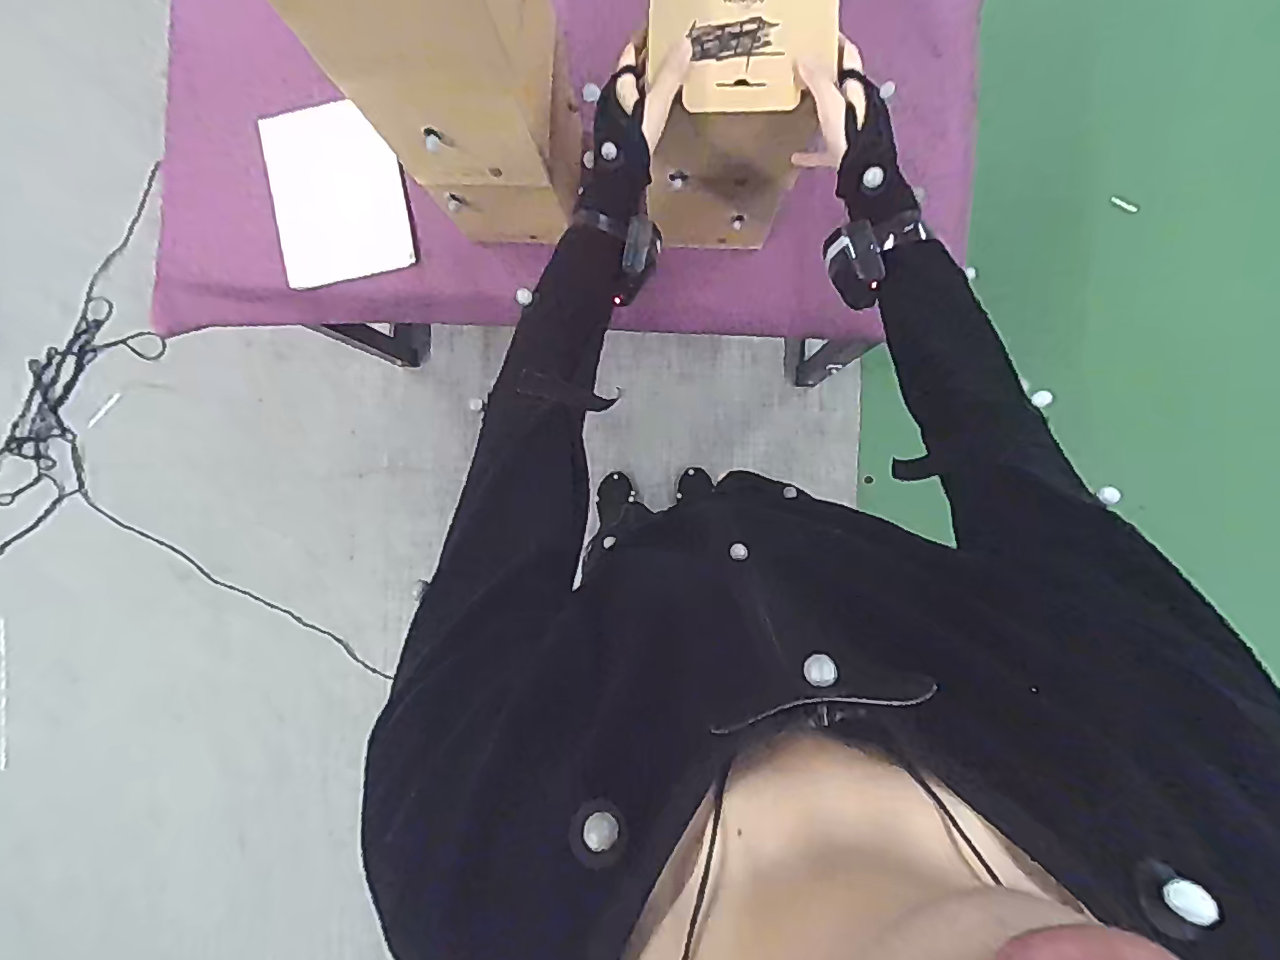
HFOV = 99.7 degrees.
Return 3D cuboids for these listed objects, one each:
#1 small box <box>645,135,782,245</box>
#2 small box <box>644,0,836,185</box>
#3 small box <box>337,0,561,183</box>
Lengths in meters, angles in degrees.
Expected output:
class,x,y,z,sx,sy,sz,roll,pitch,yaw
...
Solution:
class,x,y,z,sx,sy,sz,roll,pitch,yaw
small box,0.097,-0.429,0.712,0.168,0.176,0.179,3,89,3
small box,0.093,-0.426,0.549,0.168,0.176,0.179,2,89,2
small box,-0.182,-0.438,0.562,0.168,0.176,0.179,3,88,3
